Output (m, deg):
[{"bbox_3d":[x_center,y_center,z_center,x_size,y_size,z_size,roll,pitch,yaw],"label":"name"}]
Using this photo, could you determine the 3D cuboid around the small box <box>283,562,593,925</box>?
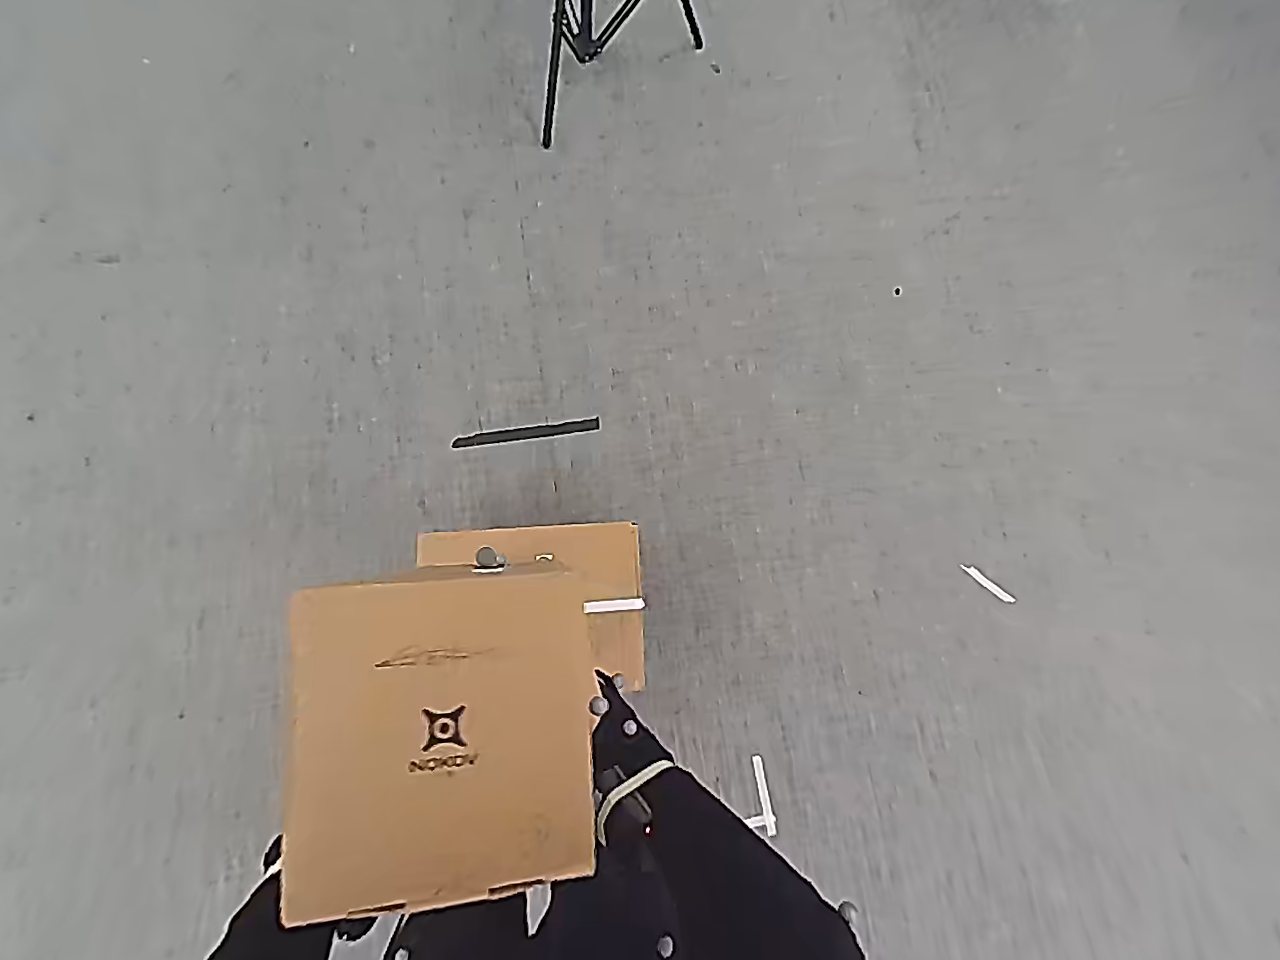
[{"bbox_3d":[-0.124,0.153,0.382,0.168,0.176,0.179,-3,83,-11],"label":"small box"}]
